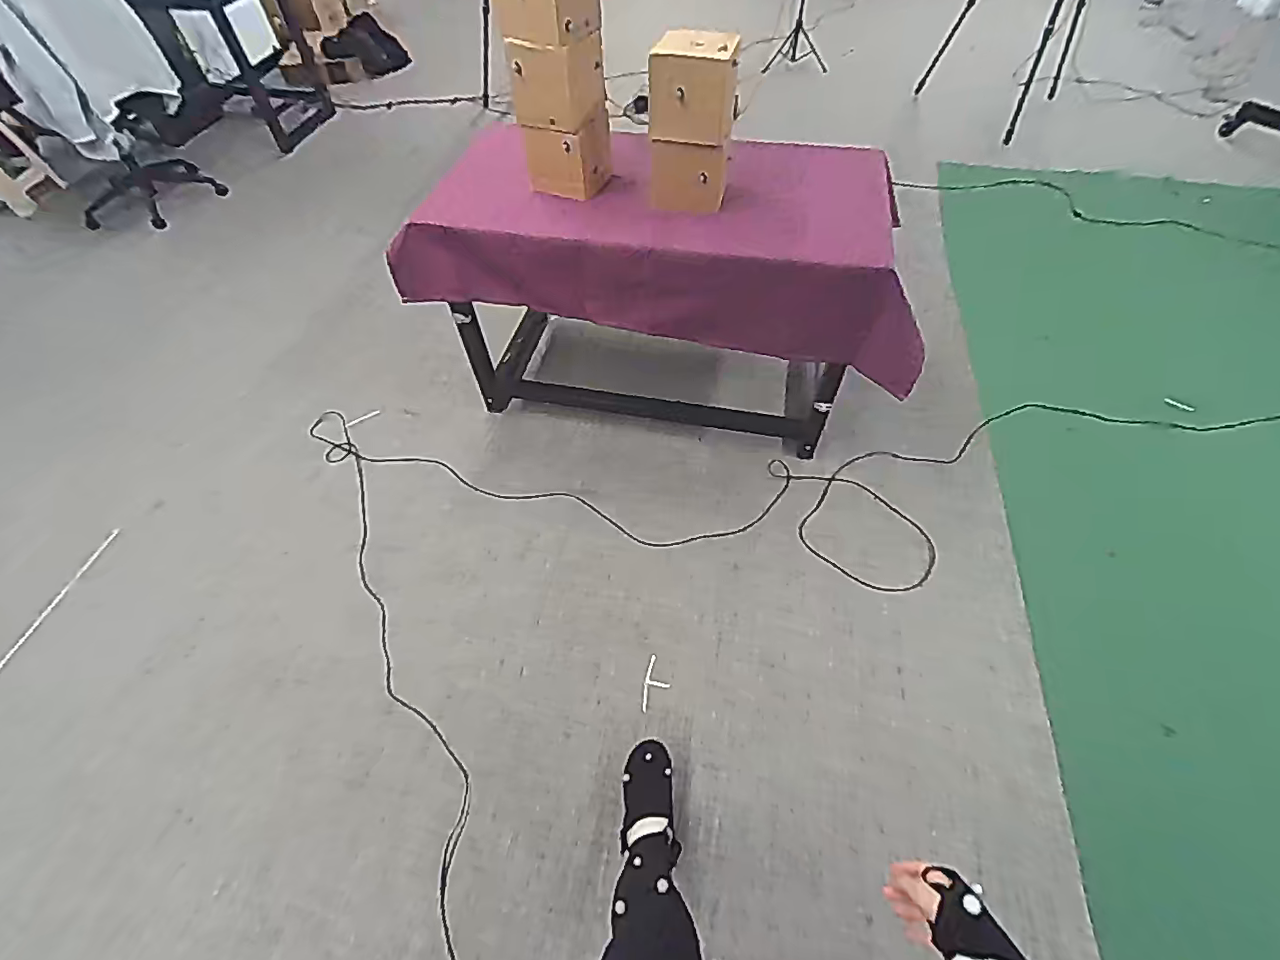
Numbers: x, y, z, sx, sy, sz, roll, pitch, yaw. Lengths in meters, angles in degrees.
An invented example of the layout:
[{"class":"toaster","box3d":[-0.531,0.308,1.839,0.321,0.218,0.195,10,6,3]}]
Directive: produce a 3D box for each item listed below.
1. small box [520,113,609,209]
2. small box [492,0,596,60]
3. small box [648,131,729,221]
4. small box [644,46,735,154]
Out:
[{"class":"small box","box3d":[-0.197,-0.860,1.464,0.179,0.176,0.168,19,56,14]},{"class":"small box","box3d":[-0.213,-1.071,1.211,0.179,0.176,0.168,25,57,19]},{"class":"small box","box3d":[0.125,-0.797,1.406,0.179,0.176,0.168,10,54,10]},{"class":"small box","box3d":[0.116,-0.890,1.271,0.179,0.176,0.168,12,55,11]}]
